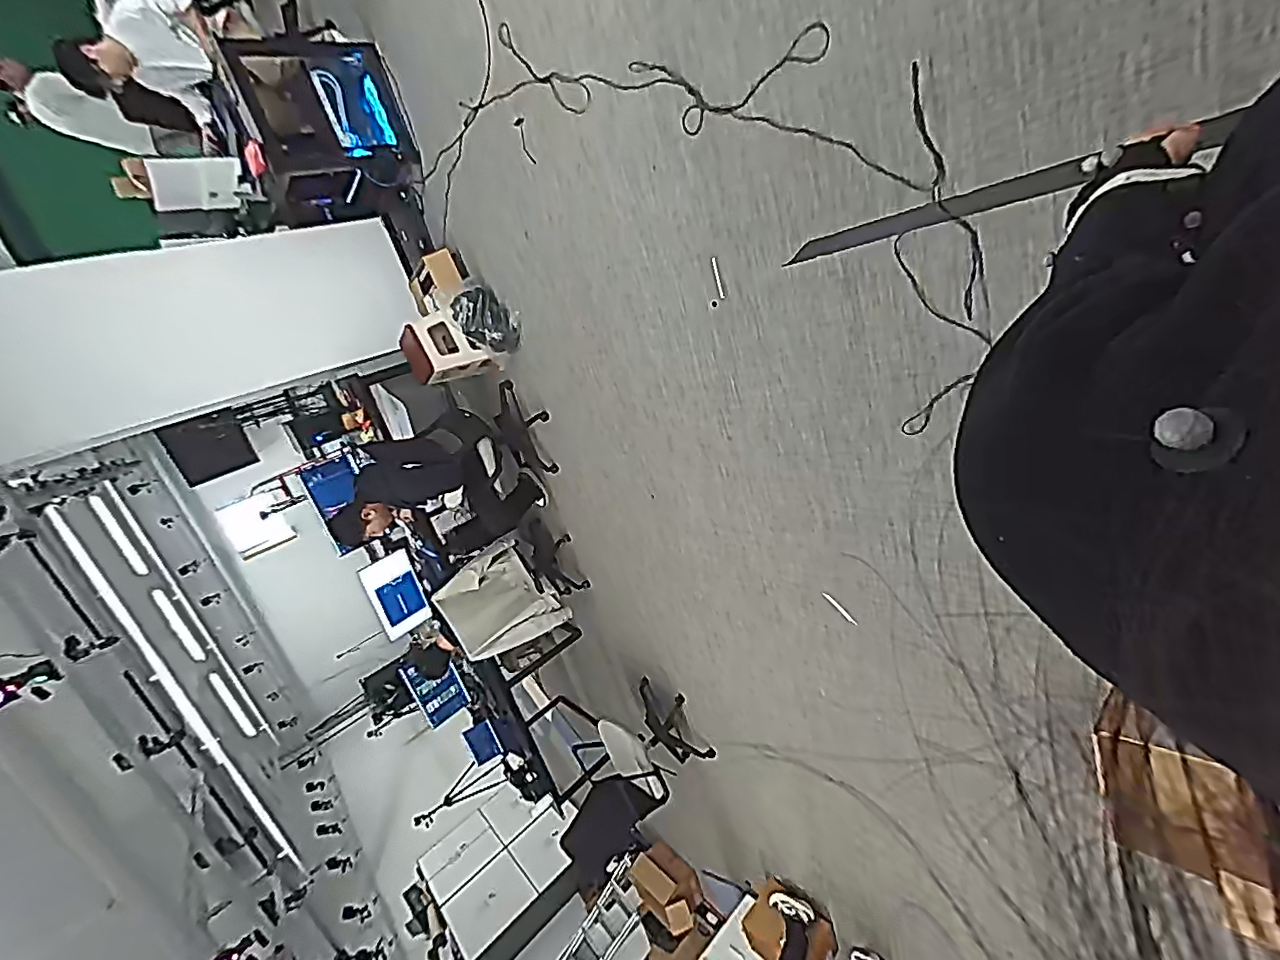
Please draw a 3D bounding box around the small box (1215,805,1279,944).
[{"bbox_3d":[1.325,0.831,1.119,0.168,0.176,0.179,-1,115,52],"label":"small box"}]
